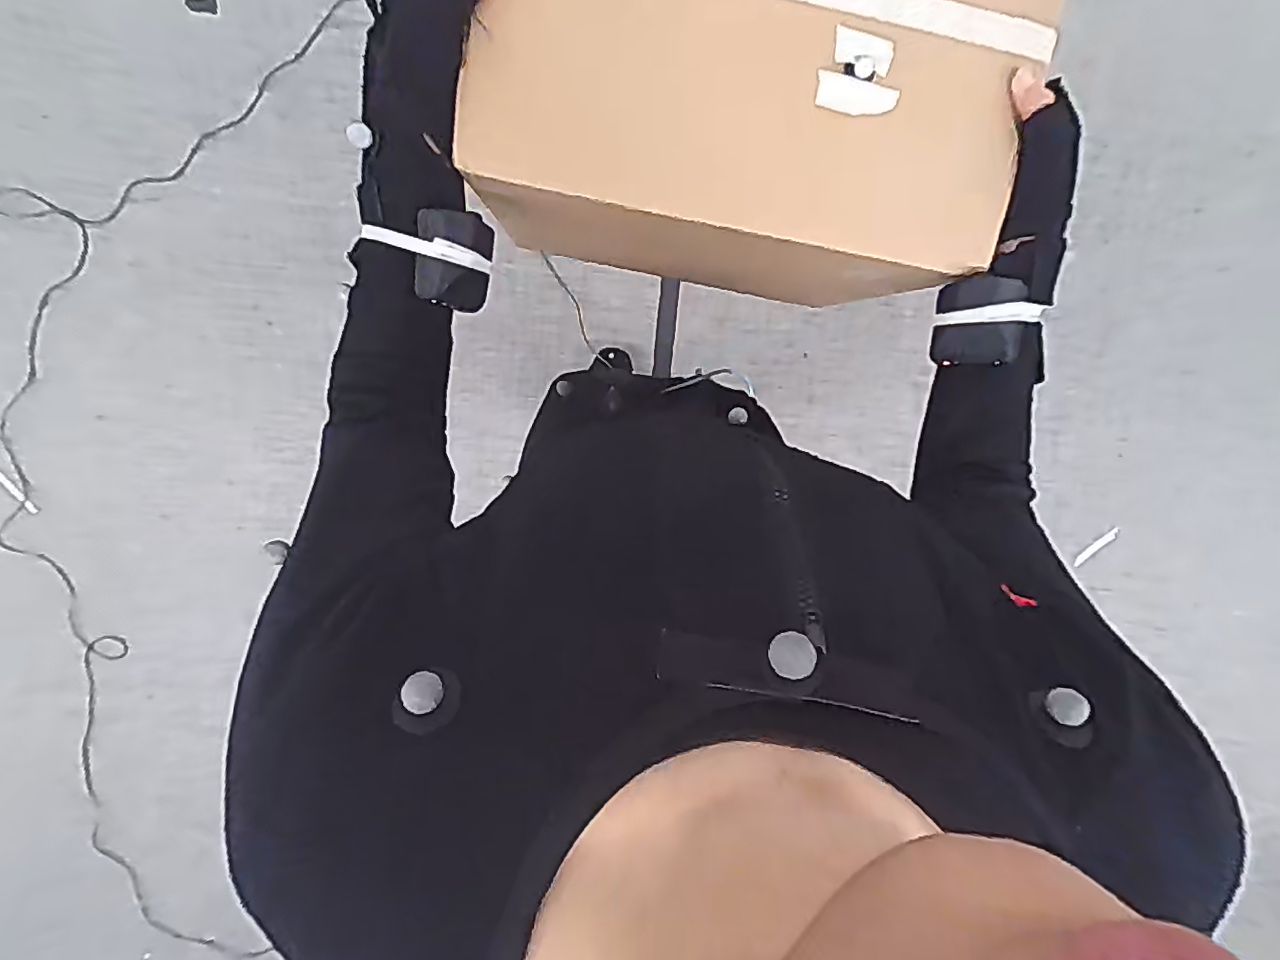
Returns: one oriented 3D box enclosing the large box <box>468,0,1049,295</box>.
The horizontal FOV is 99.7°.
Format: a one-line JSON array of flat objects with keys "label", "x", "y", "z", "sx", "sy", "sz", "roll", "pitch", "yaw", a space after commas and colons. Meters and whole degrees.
[{"label": "large box", "x": 0.079, "y": -0.380, "z": 0.516, "sx": 0.408, "sy": 0.320, "sz": 0.320, "roll": 8, "pitch": 104, "yaw": -8}]
